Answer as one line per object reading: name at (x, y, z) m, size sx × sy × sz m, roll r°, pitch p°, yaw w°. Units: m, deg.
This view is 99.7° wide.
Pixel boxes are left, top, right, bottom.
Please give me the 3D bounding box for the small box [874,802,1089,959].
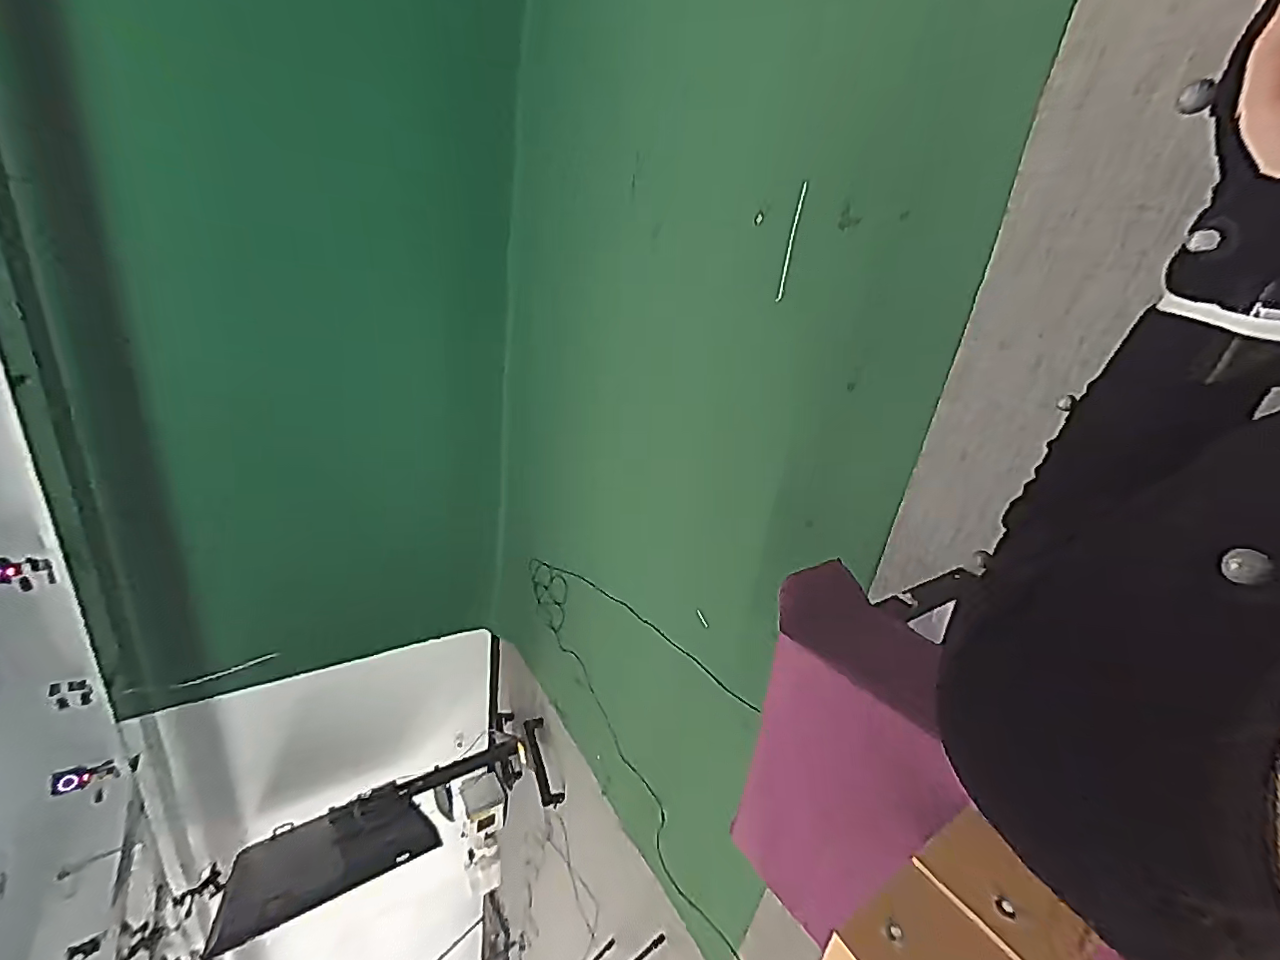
small box at (0.467, 0.596, 0.745) m, size 0.179 × 0.176 × 0.168 m, roll 34°, pitch 123°, yaw 48°
